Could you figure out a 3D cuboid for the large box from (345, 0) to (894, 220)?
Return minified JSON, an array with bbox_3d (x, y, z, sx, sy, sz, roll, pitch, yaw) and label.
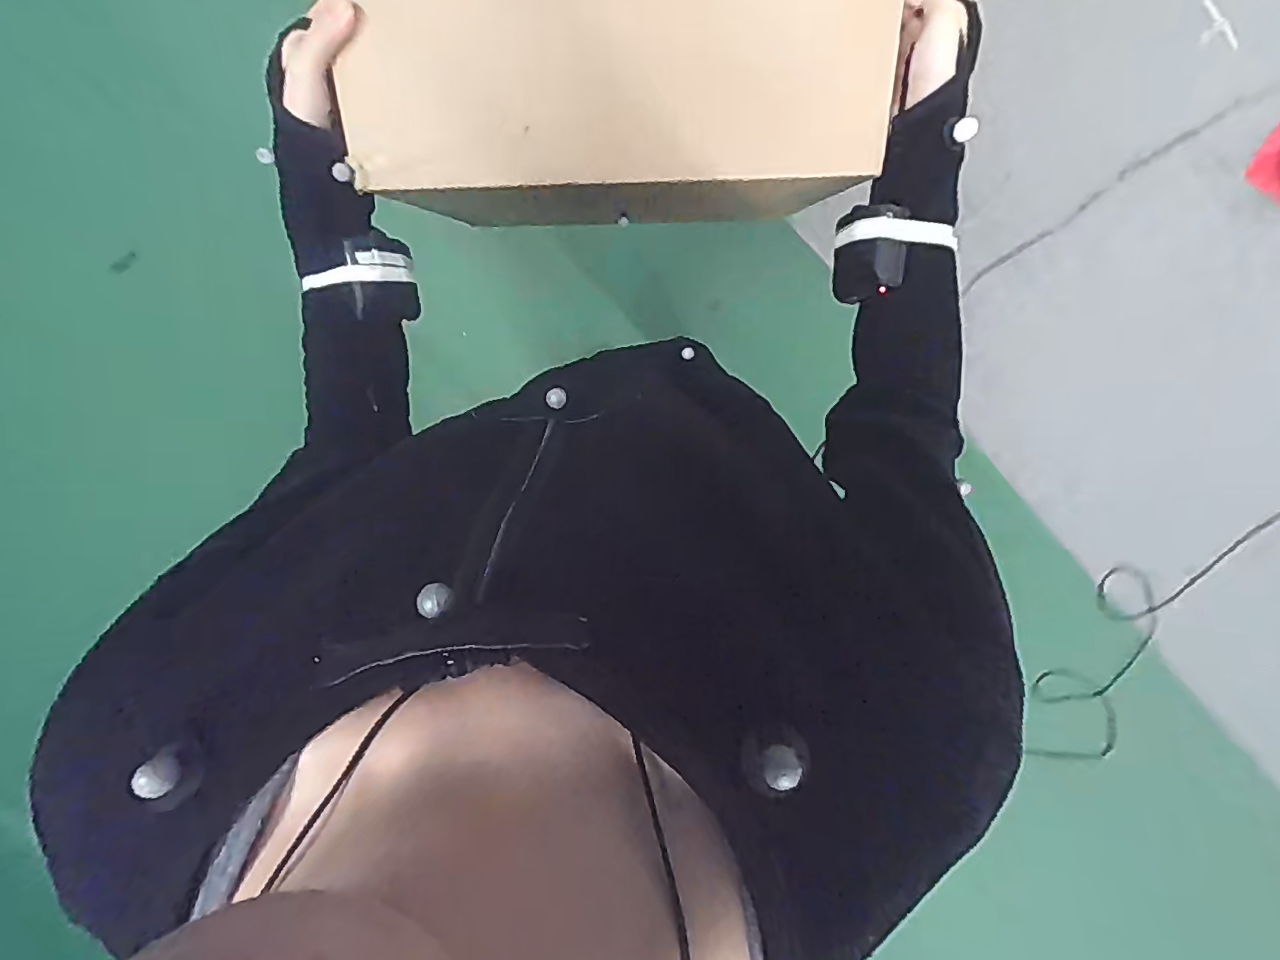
[{"bbox_3d":[-0.012,-0.434,0.515,0.408,0.320,0.320,-1,110,1],"label":"large box"}]
